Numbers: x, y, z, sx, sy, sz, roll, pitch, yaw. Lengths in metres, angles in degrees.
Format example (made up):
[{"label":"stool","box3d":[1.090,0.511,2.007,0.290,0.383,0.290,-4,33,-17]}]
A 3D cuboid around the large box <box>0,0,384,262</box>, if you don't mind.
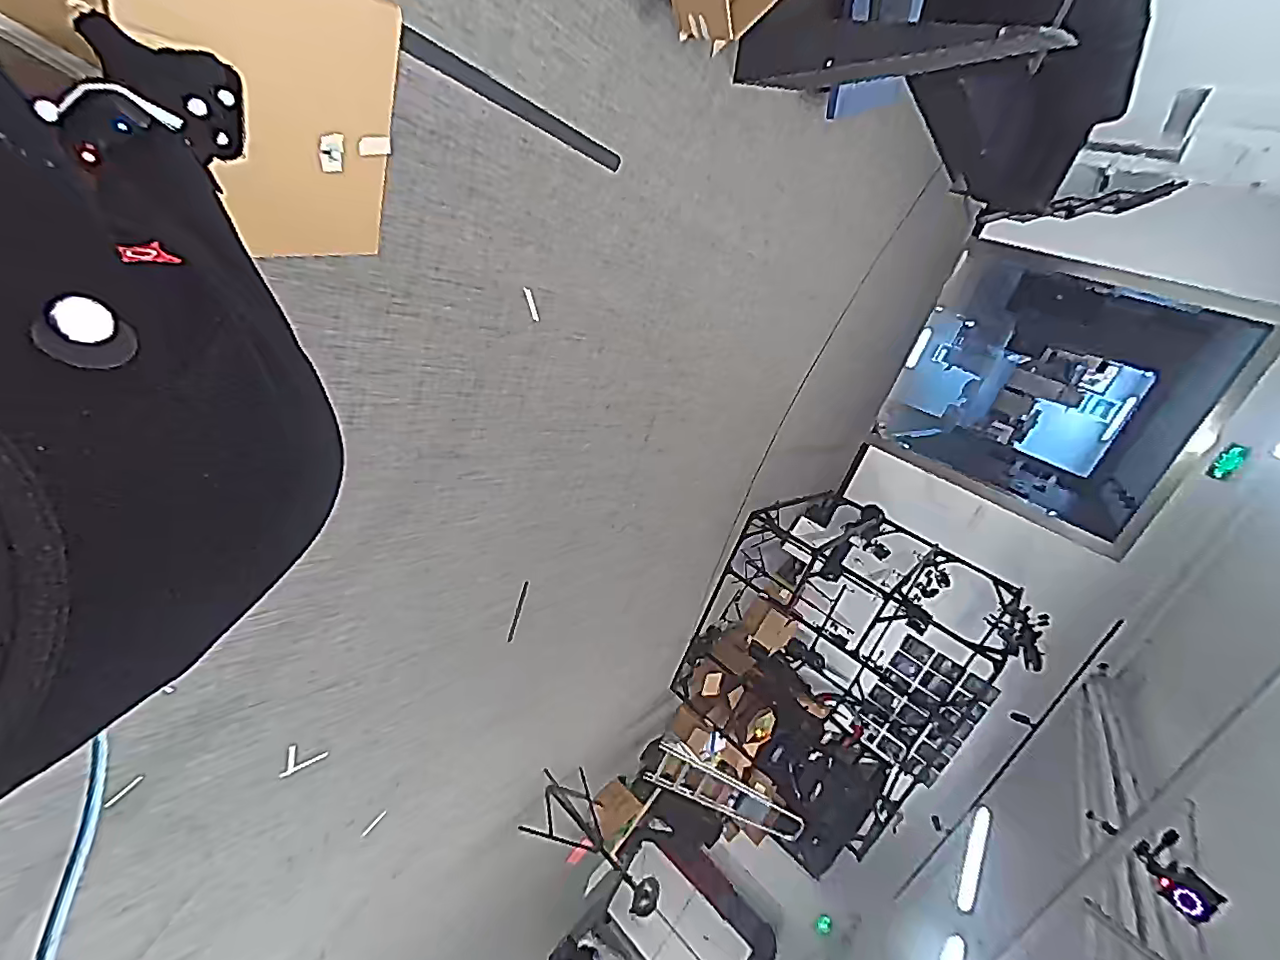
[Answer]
[{"label":"large box","box3d":[-0.591,-0.506,0.672,0.320,0.408,0.320,-39,158,-56]}]
